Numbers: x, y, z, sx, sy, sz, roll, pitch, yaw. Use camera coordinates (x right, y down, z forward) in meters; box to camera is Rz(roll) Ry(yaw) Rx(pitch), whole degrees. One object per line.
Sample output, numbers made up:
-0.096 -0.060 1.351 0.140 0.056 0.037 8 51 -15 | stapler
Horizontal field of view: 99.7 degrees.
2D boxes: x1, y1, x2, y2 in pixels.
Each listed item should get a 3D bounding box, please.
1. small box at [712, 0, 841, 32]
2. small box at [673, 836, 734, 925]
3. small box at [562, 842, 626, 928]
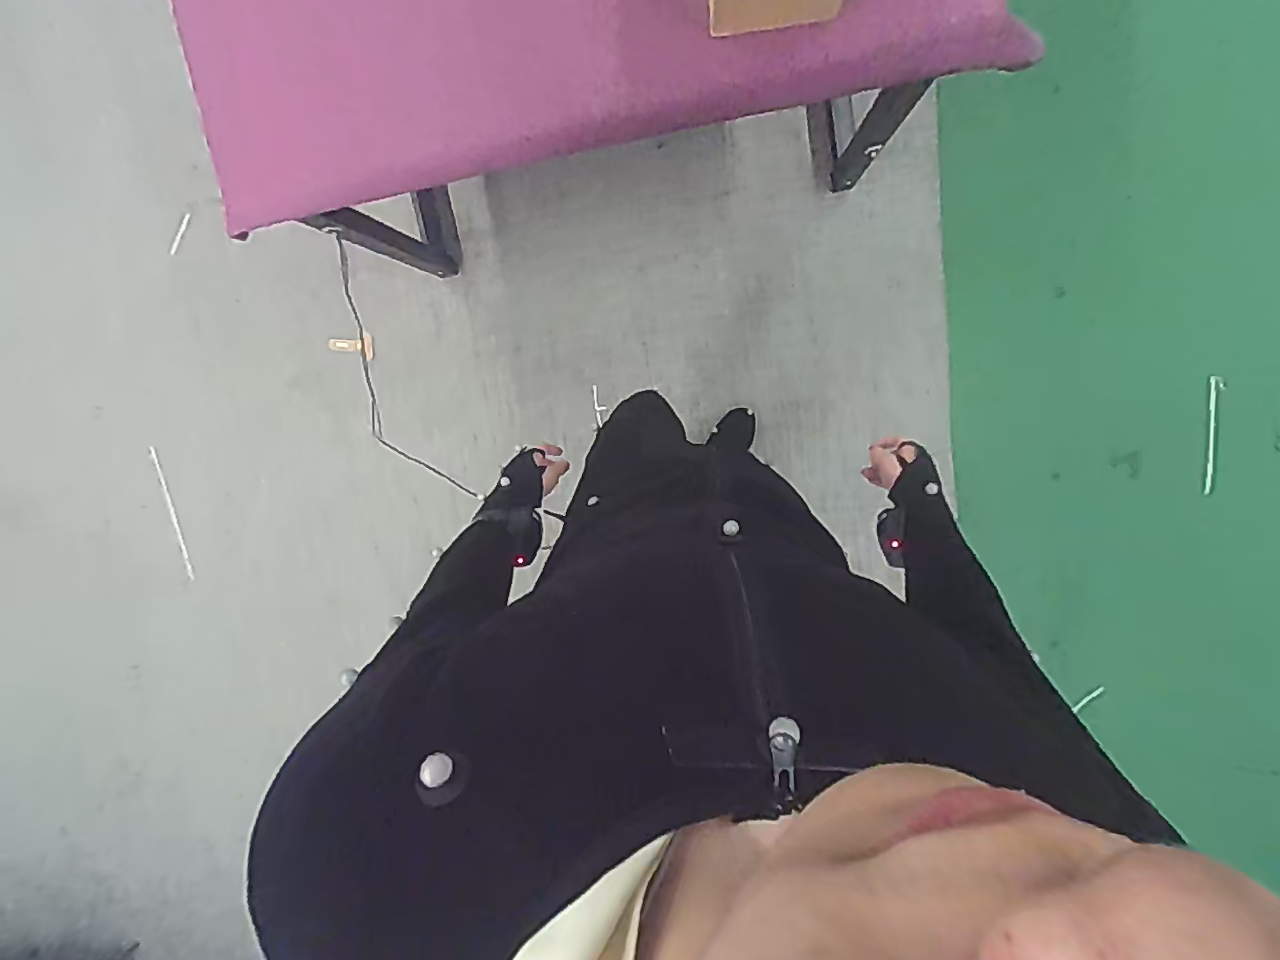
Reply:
0.173 -0.699 0.666 0.179 0.176 0.168 -2 99 8 | small box
0.207 1.297 1.759 0.179 0.176 0.168 -7 100 7 | small box
-0.144 1.347 1.805 0.179 0.176 0.168 -8 99 8 | small box
